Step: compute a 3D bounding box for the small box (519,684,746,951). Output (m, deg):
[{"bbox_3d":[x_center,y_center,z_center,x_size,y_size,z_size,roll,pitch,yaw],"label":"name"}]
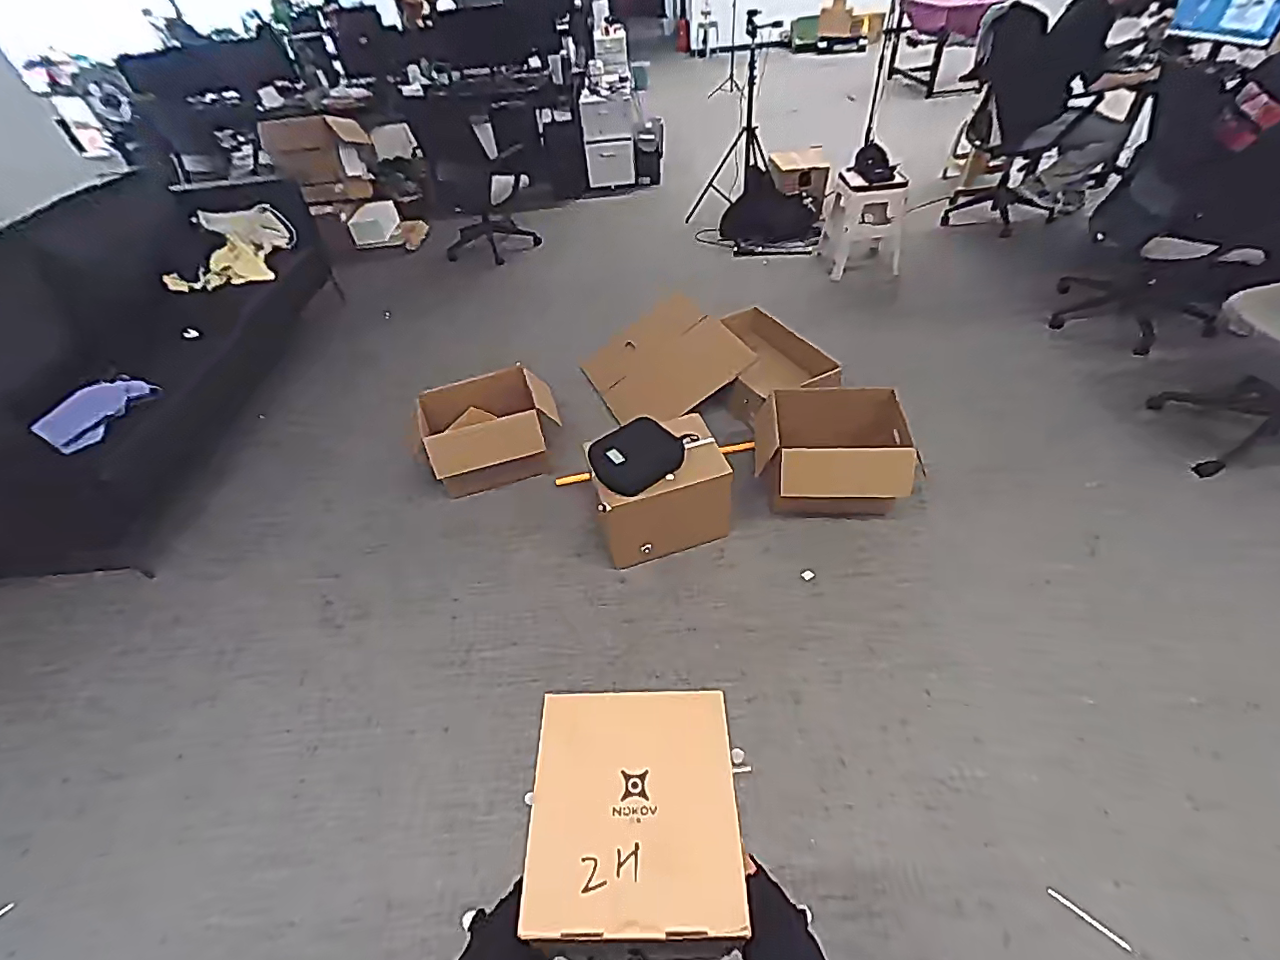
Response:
[{"bbox_3d":[-0.003,0.308,0.497,0.168,0.176,0.179,-2,45,1],"label":"small box"}]
